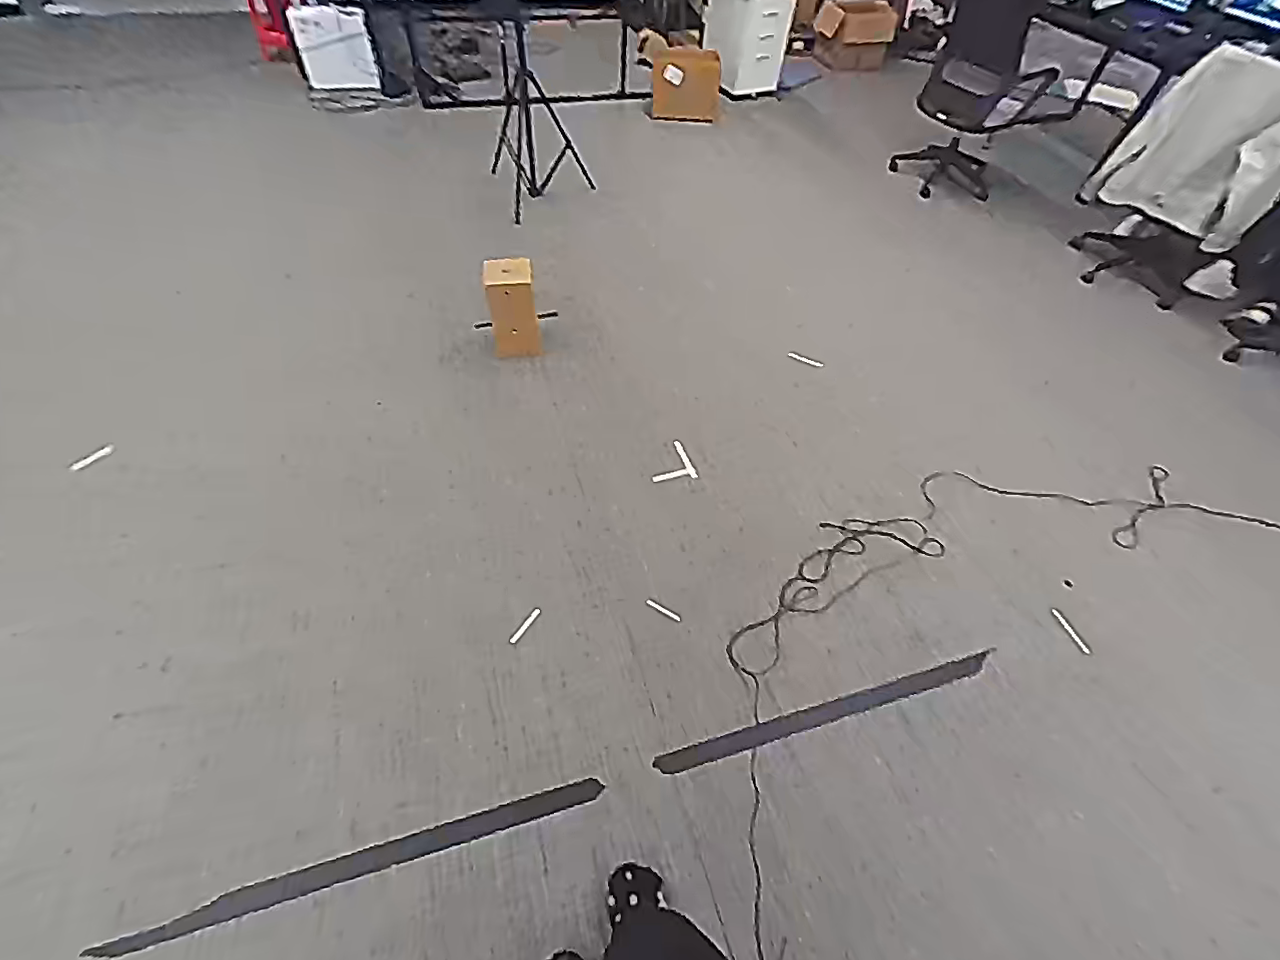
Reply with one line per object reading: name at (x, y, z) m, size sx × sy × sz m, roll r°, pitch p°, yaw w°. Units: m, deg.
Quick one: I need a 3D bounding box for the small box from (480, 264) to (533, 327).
small box at (-0.512, -0.706, 2.082) m, size 0.179 × 0.176 × 0.168 m, roll -6°, pitch 54°, yaw -8°

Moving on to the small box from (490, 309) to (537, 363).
small box at (-0.517, -0.601, 2.209) m, size 0.179 × 0.176 × 0.168 m, roll -9°, pitch 54°, yaw -10°
